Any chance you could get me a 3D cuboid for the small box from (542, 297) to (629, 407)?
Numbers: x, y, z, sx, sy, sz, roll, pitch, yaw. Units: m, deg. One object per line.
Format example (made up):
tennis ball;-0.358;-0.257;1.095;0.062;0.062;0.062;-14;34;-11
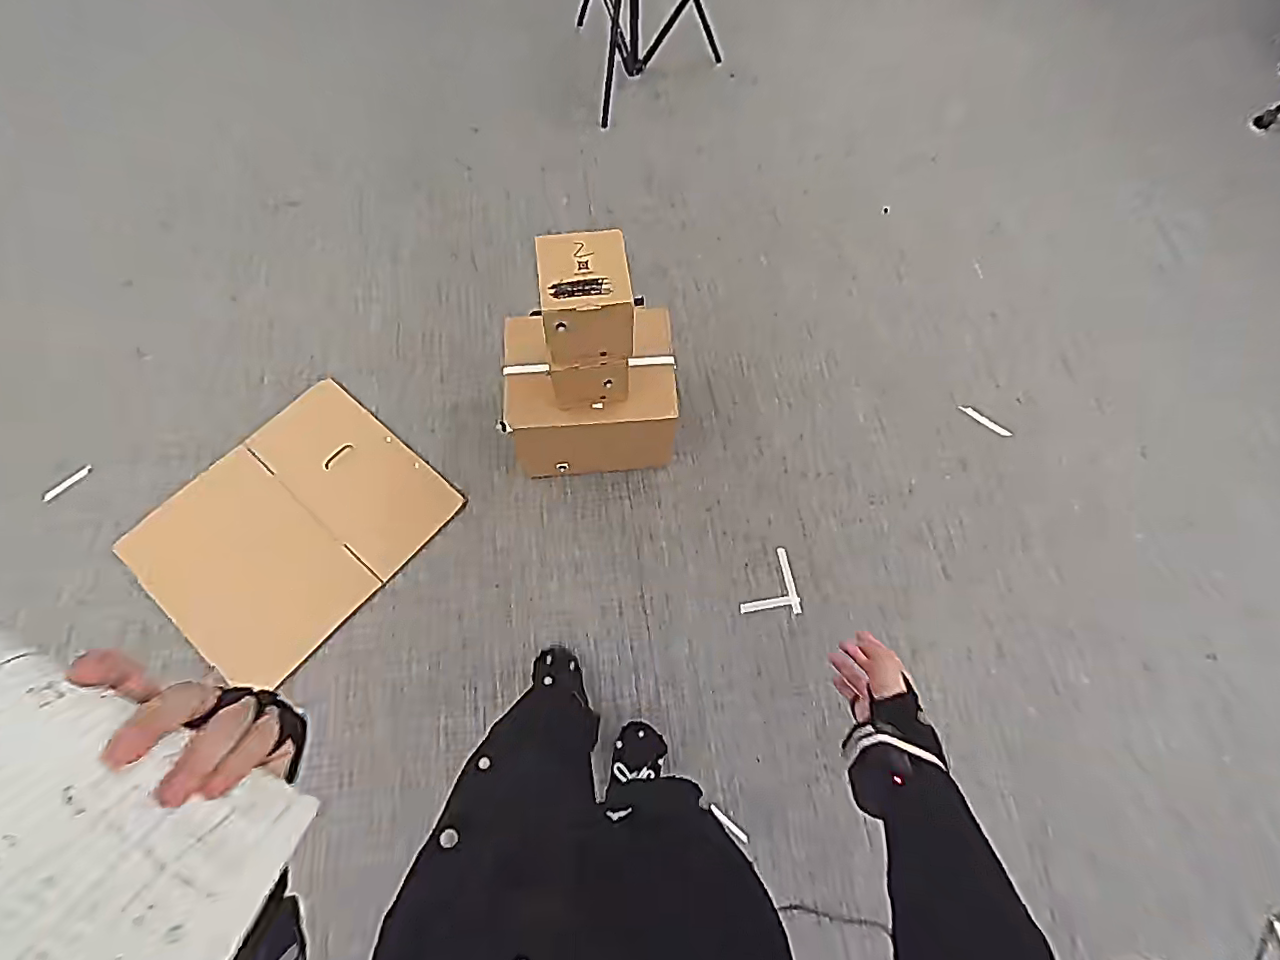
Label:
small box;-0.117;-0.274;1.200;0.168;0.176;0.179;-9;69;-6
